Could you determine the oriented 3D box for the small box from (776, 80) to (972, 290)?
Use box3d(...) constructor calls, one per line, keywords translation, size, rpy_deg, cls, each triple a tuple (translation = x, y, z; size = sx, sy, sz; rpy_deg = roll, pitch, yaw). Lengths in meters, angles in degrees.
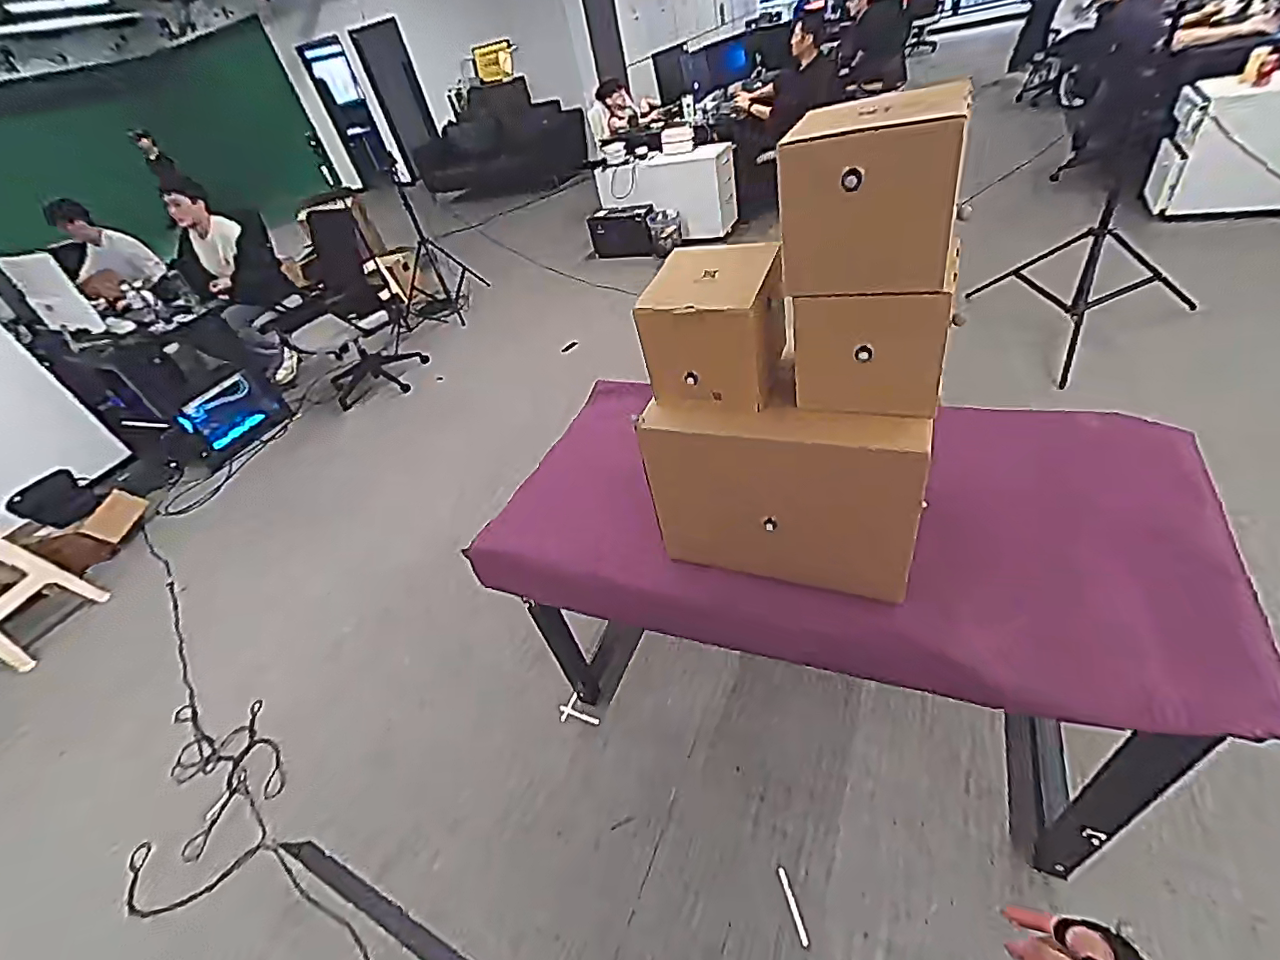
box3d(translation=(0.267, -0.329, 0.621), size=(0.179, 0.176, 0.168), rpy_deg=(8, 45, 27), cls="small box")
